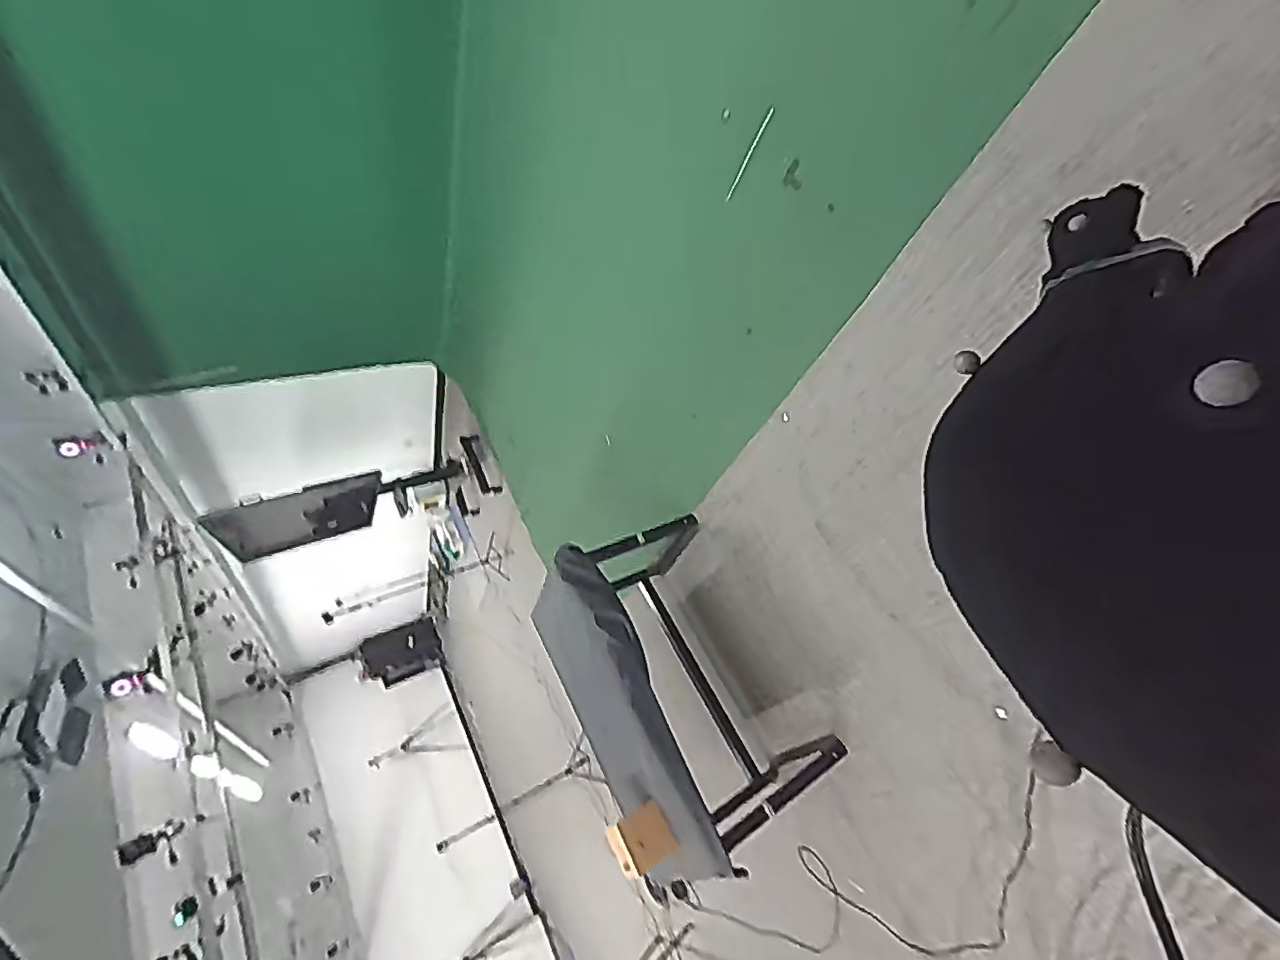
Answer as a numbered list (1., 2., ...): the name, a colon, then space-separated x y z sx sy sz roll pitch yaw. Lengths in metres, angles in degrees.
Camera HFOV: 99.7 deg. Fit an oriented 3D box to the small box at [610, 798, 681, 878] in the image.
1. small box: 0.021 1.282 1.938 0.179 0.176 0.168 57 145 26
